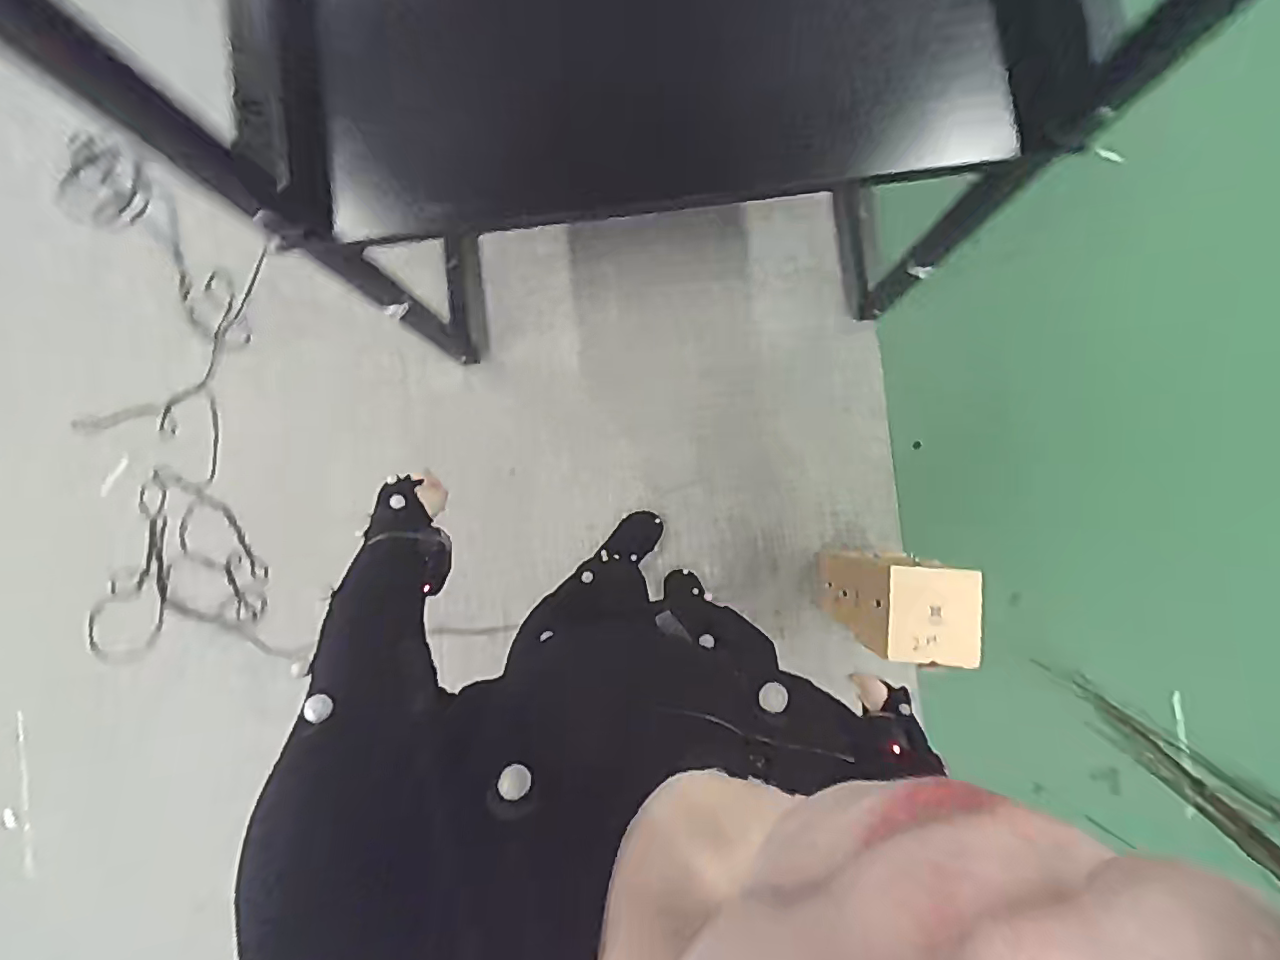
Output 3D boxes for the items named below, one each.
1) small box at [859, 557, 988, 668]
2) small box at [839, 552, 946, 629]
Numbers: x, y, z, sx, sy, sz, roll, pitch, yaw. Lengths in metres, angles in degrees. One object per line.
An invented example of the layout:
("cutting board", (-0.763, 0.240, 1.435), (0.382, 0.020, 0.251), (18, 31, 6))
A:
("small box", (0.532, 0.243, 1.036), (0.168, 0.176, 0.179), (4, 87, 3))
("small box", (0.552, 0.250, 1.201), (0.179, 0.176, 0.168), (1, 87, 3))
